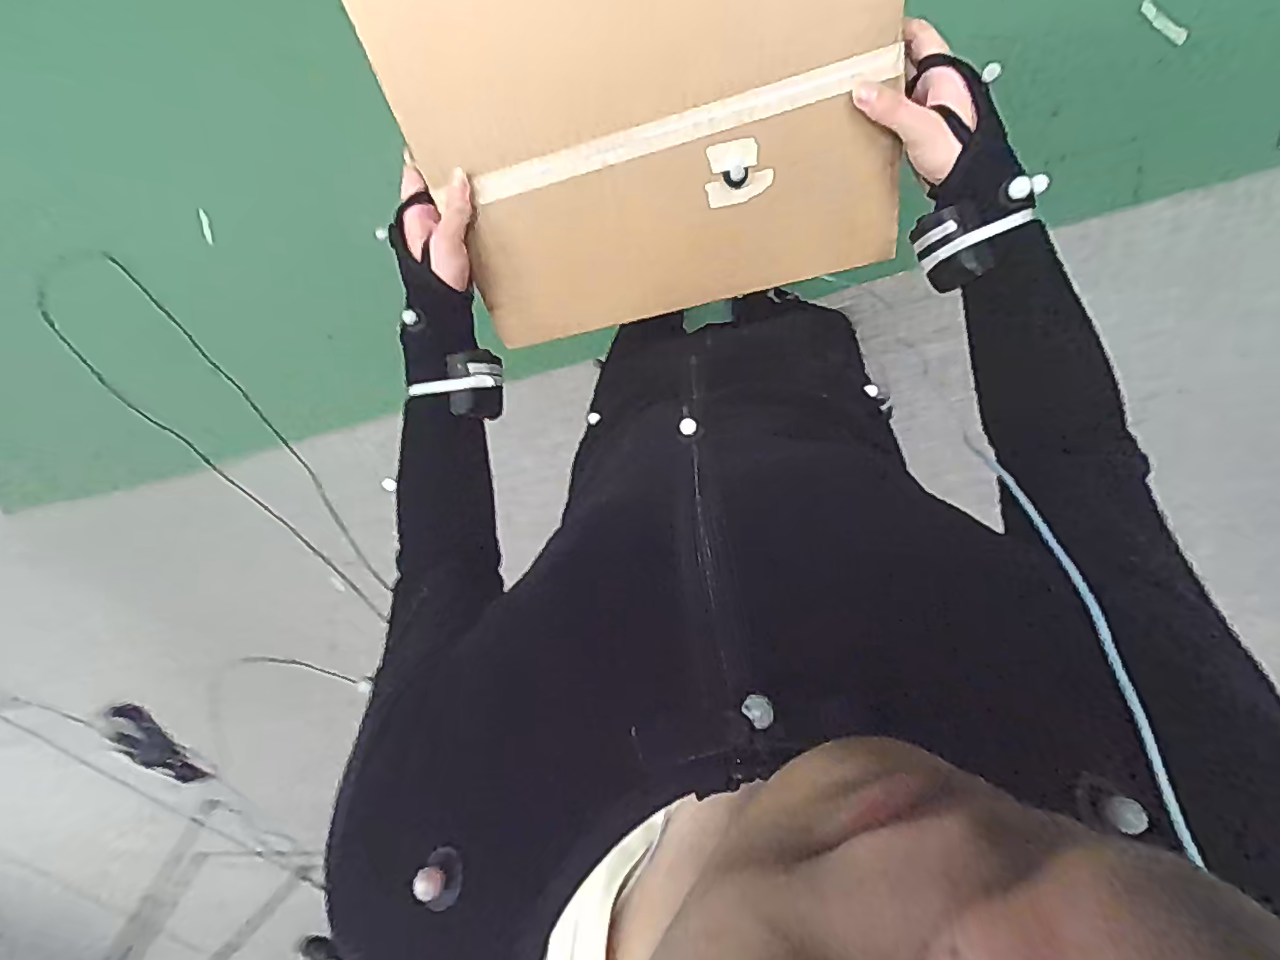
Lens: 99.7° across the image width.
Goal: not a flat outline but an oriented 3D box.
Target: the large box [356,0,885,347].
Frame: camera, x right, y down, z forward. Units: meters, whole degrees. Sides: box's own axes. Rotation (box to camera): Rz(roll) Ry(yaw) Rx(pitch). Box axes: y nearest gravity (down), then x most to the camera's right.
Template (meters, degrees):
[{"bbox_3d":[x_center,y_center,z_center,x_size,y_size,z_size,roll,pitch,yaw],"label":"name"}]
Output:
[{"bbox_3d":[0.008,-0.393,0.585,0.408,0.320,0.320,-11,131,11],"label":"large box"}]
